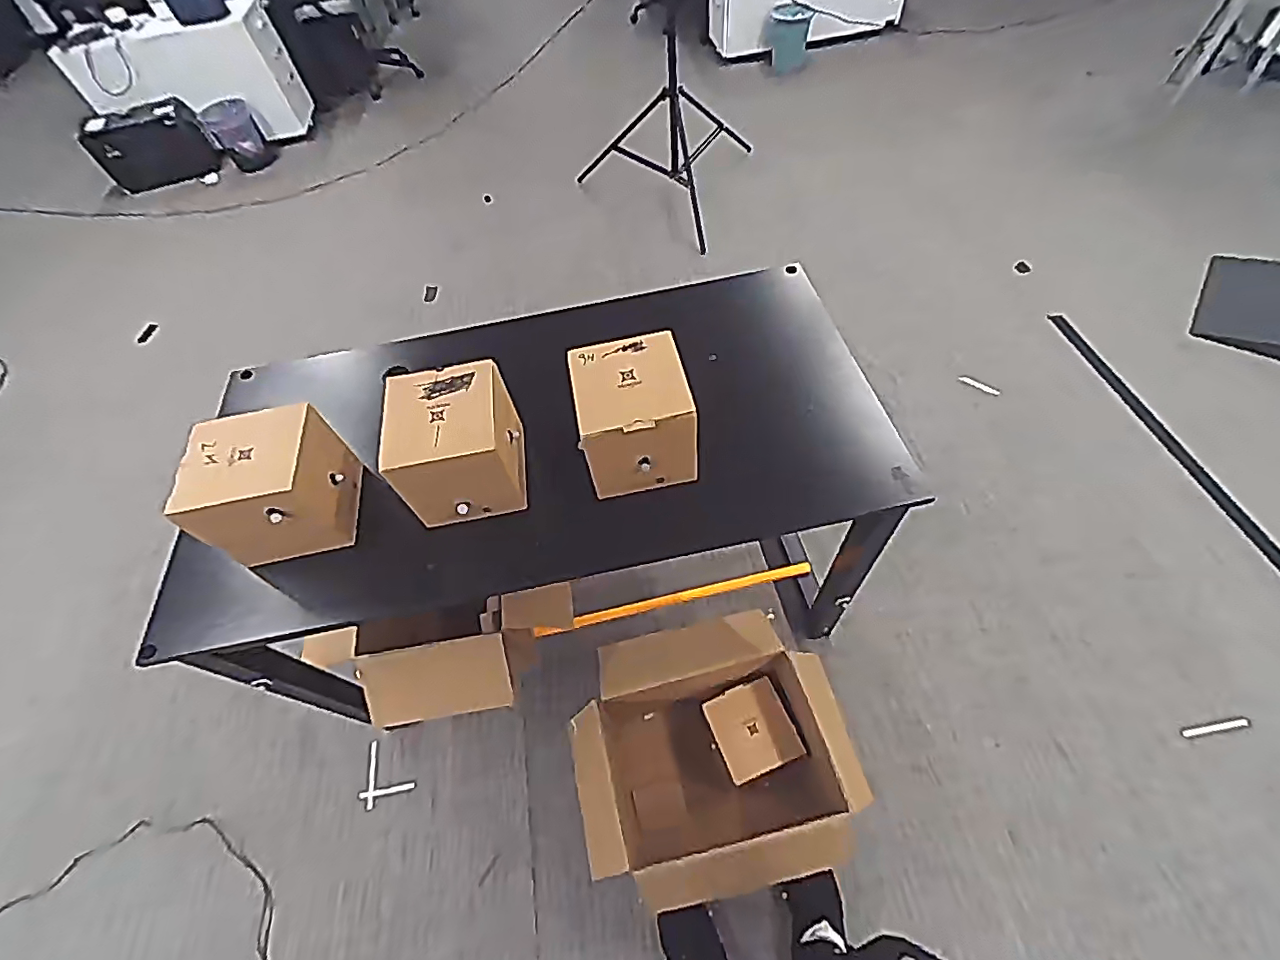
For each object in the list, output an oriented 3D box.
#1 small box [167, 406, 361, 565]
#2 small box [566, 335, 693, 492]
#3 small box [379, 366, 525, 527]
[{"bbox_3d":[-0.563,0.013,0.841,0.179,0.176,0.168,-12,56,-2],"label":"small box"},{"bbox_3d":[-0.013,-0.095,0.857,0.168,0.176,0.179,-11,57,-1],"label":"small box"},{"bbox_3d":[-0.285,-0.050,0.855,0.168,0.176,0.179,-11,57,-1],"label":"small box"}]
